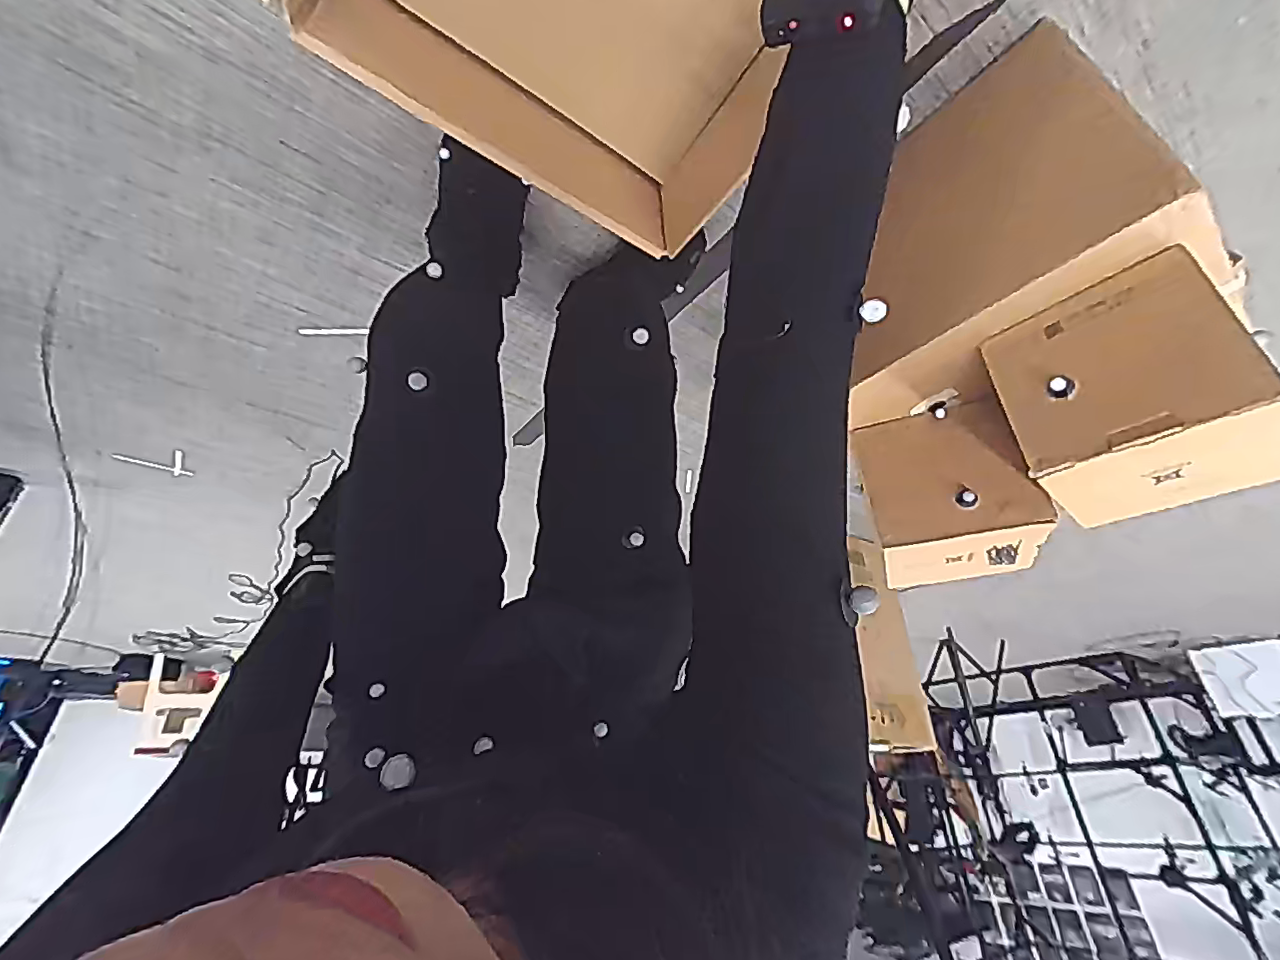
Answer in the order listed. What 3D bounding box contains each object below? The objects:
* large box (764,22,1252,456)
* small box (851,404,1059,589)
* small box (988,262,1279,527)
[{"bbox_3d":[0.431,-0.244,0.715,0.320,0.320,0.408,21,144,-33],"label":"large box"},{"bbox_3d":[0.383,0.026,0.691,0.179,0.176,0.168,-13,148,19],"label":"small box"},{"bbox_3d":[0.473,-0.076,0.523,0.179,0.176,0.168,22,145,-36],"label":"small box"}]
